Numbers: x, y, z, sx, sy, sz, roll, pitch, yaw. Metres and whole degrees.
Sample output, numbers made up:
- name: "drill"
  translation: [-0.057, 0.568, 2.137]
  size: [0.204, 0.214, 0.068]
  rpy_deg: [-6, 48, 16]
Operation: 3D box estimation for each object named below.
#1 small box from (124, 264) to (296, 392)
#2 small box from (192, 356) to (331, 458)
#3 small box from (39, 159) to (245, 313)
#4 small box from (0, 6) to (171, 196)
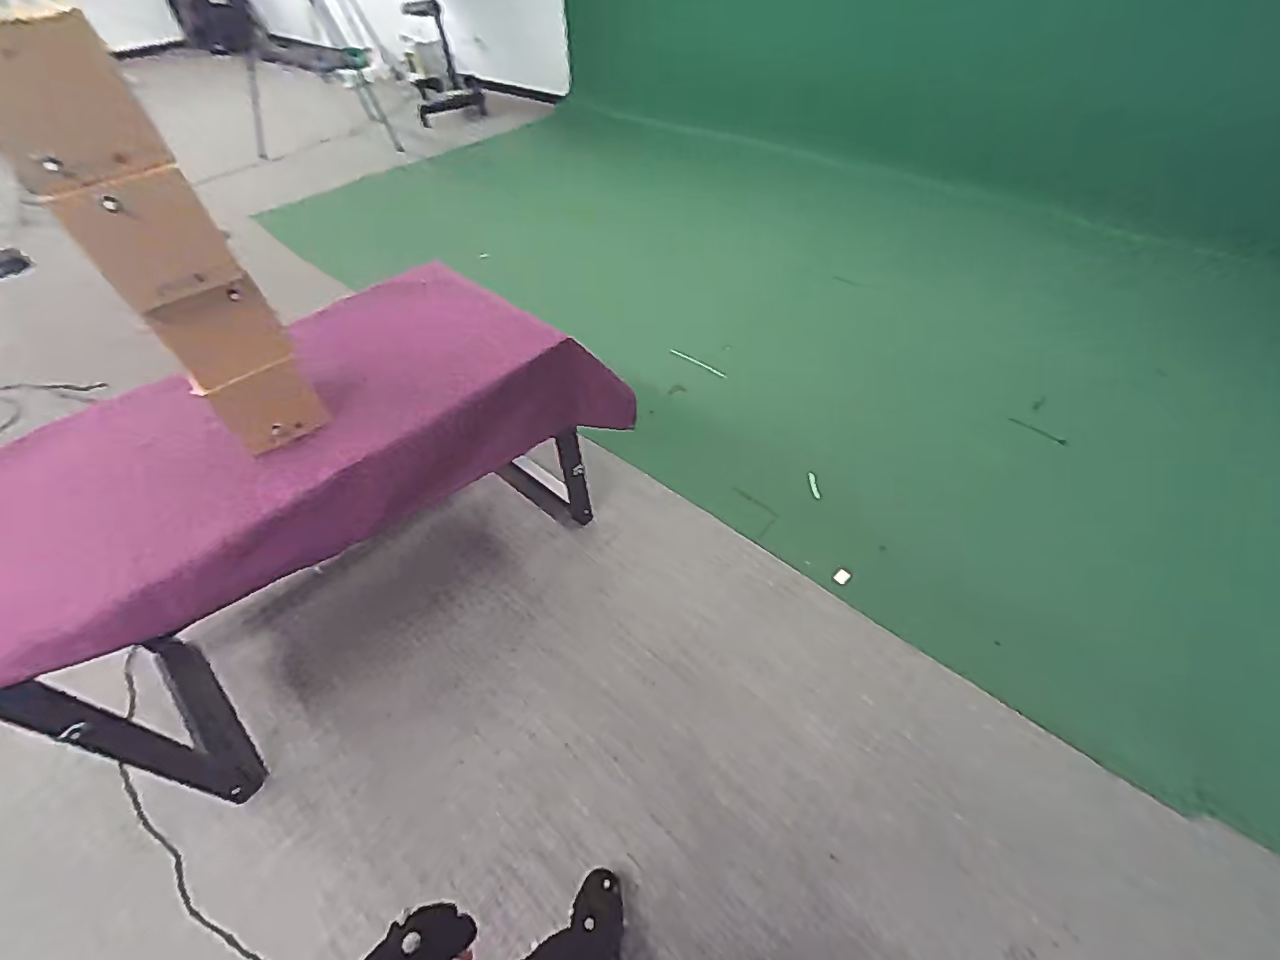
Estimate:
- name: "small box"
  translation: [-0.766, -0.286, 0.965]
  size: [0.179, 0.176, 0.168]
  rpy_deg: [-37, 56, -26]
- name: "small box"
  translation: [-0.762, -0.174, 1.082]
  size: [0.168, 0.176, 0.179]
  rpy_deg: [-36, 56, -24]
- name: "small box"
  translation: [-0.757, -0.383, 0.832]
  size: [0.168, 0.176, 0.179]
  rpy_deg: [-35, 54, -24]
- name: "small box"
  translation: [-0.777, -0.499, 0.715]
  size: [0.168, 0.176, 0.179]
  rpy_deg: [-38, 55, -27]
